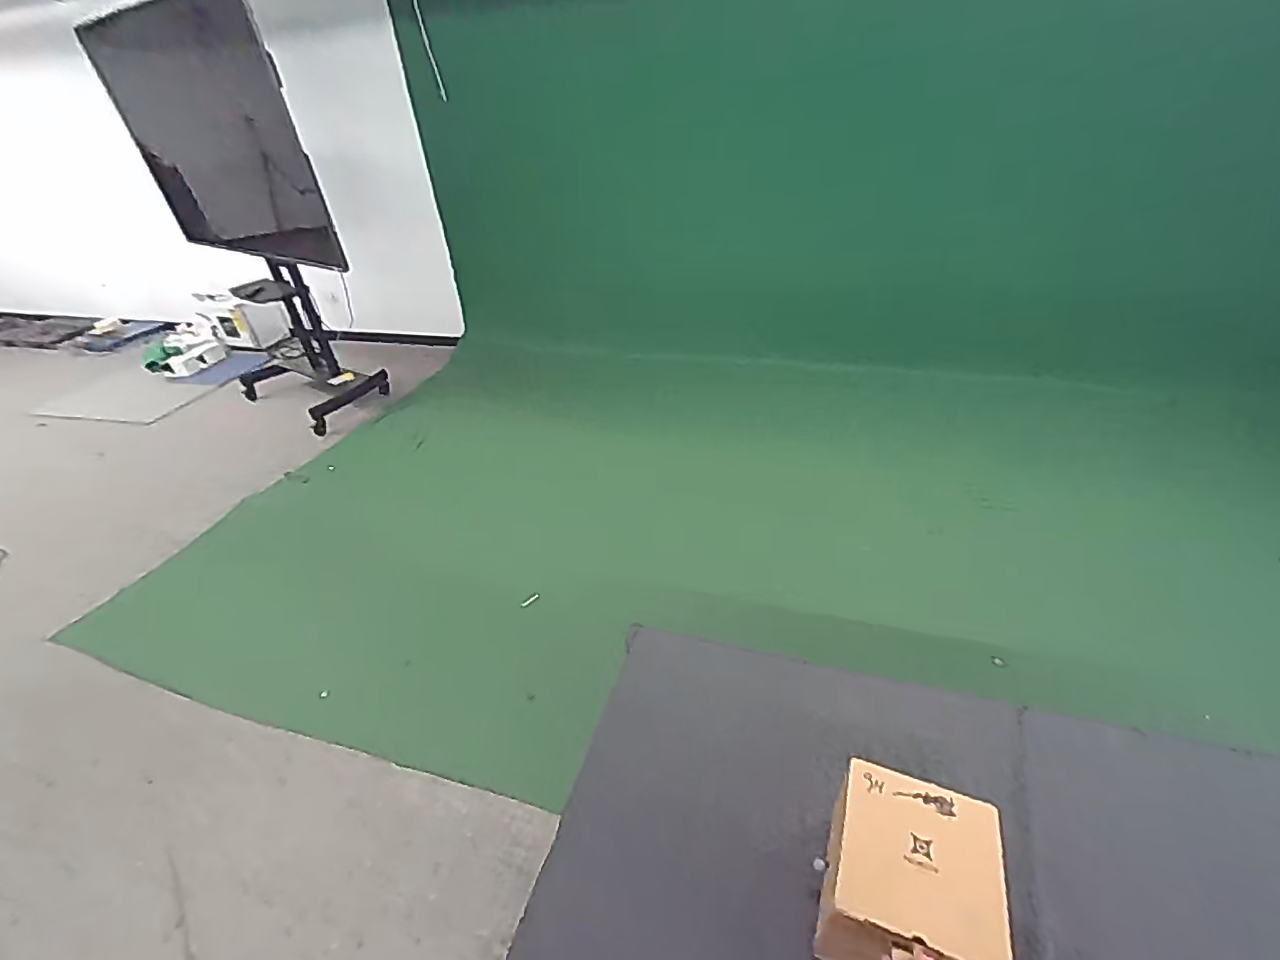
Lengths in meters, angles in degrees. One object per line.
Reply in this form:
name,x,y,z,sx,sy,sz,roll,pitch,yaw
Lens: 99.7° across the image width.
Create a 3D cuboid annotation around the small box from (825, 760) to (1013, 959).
small box,0.321,0.485,0.650,0.168,0.176,0.179,8,36,20
